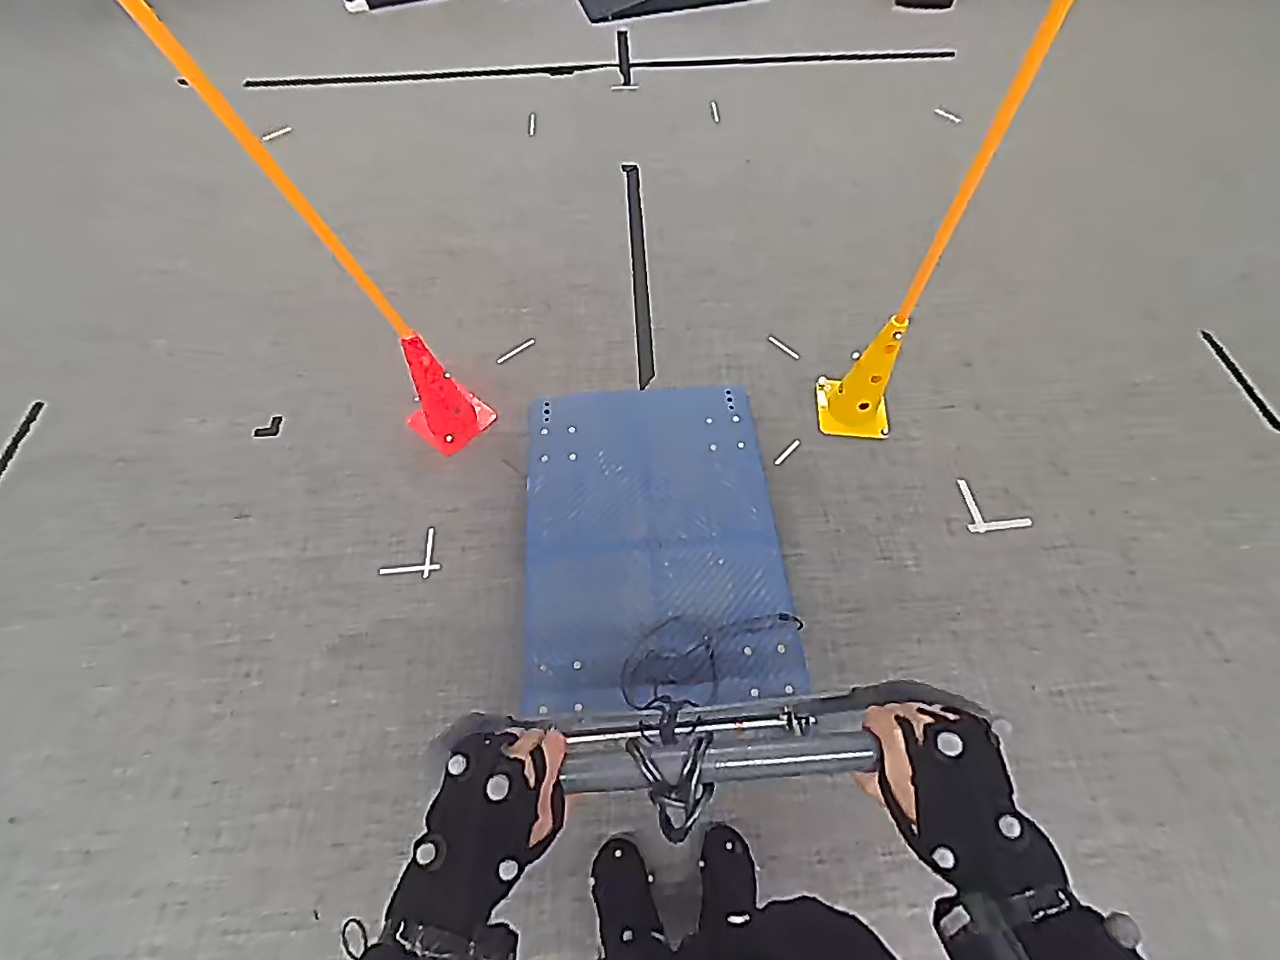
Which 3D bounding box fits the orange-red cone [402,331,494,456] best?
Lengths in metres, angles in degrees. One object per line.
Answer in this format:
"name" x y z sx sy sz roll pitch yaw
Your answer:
"orange-red cone" -0.555 -0.259 1.444 0.198 0.360 0.199 38 67 18
